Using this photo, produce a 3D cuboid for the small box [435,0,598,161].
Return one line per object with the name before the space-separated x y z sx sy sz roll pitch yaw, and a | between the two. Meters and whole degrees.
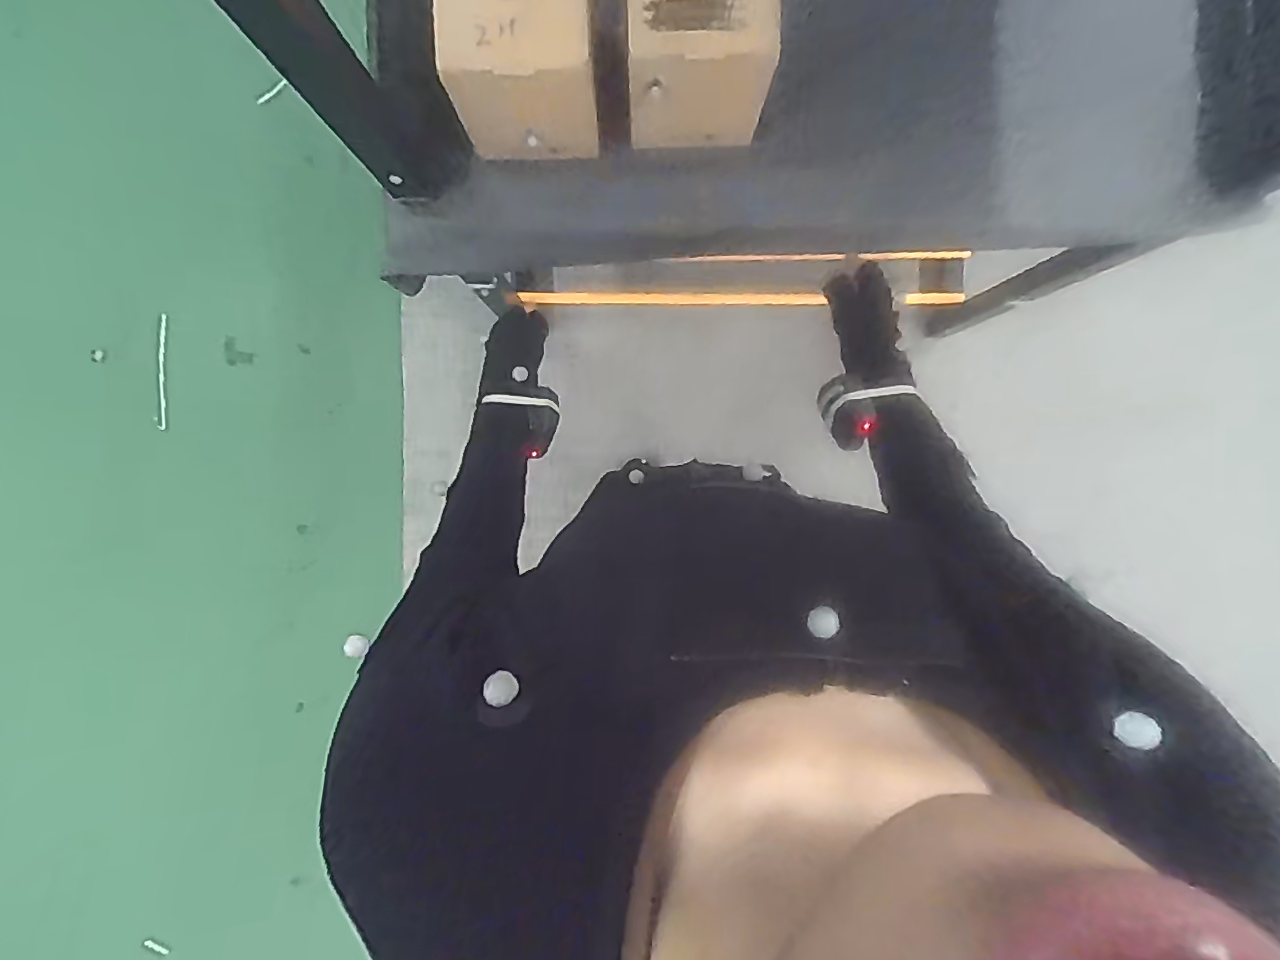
small box | -0.140 -0.525 0.661 0.168 0.176 0.179 -2 91 0
